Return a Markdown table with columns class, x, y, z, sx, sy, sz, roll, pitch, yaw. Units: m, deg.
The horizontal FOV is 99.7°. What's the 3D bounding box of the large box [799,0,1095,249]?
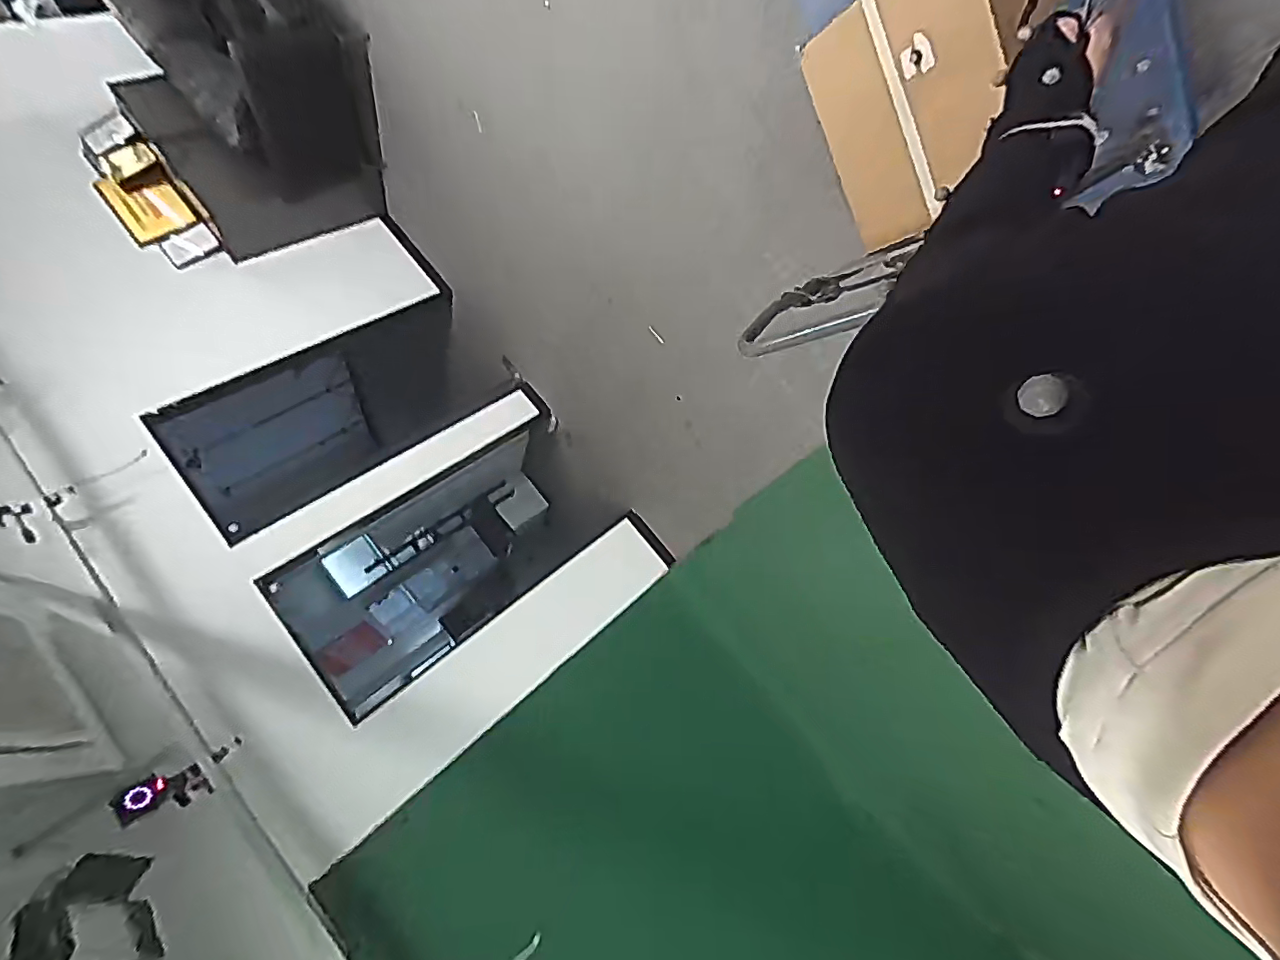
| class | x | y | z | sx | sy | sz | roll | pitch | yaw |
| --- | --- | --- | --- | --- | --- | --- | --- | --- | --- |
| large box | 0.580 | -0.728 | 1.023 | 0.320 | 0.320 | 0.408 | -3 | 118 | 58 |
